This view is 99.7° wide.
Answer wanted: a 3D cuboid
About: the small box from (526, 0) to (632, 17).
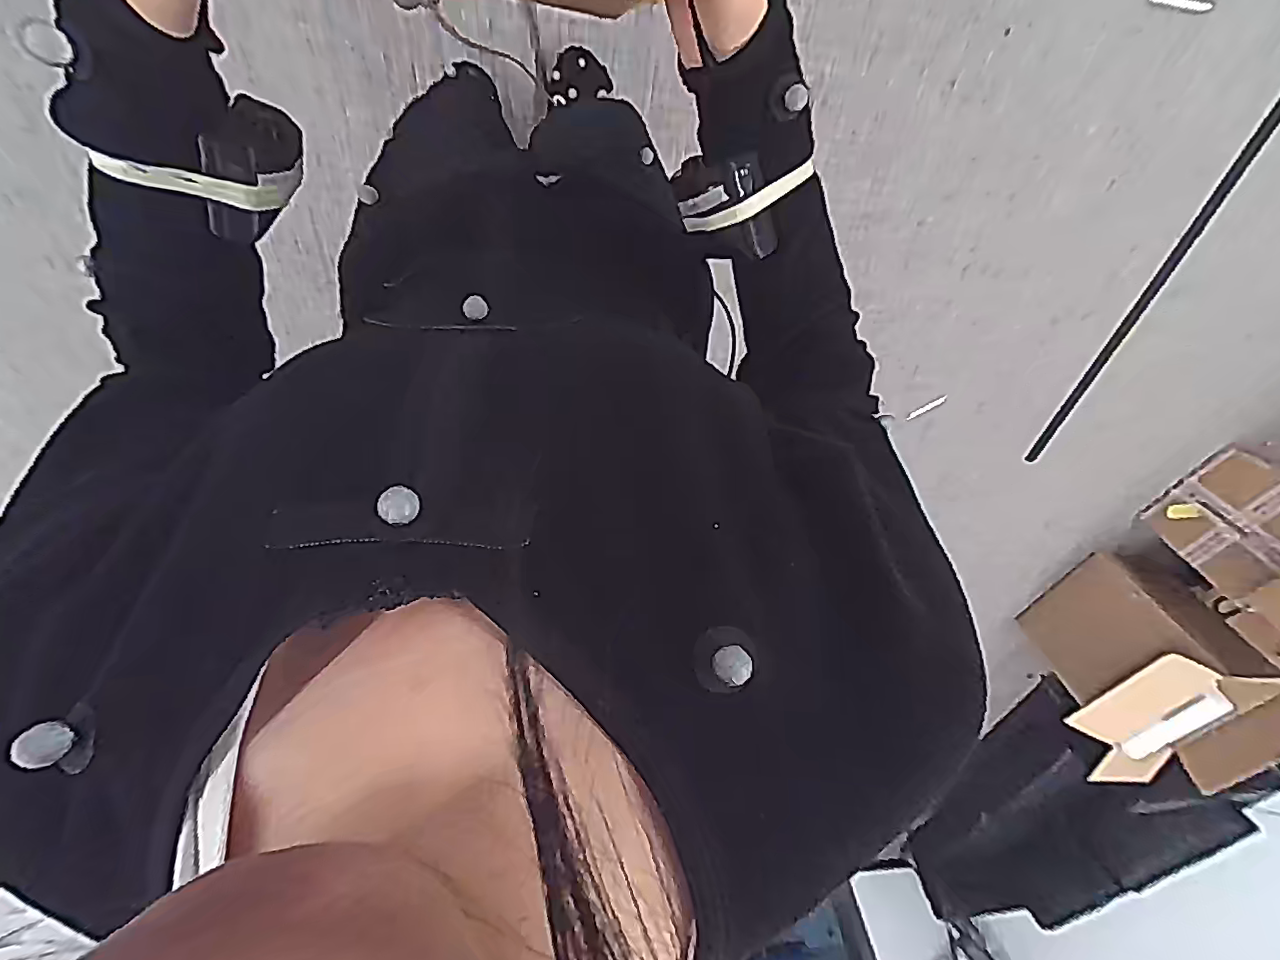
[{"bbox_3d":[-0.064,-0.296,0.194,0.168,0.176,0.179,3,126,-12],"label":"small box"}]
